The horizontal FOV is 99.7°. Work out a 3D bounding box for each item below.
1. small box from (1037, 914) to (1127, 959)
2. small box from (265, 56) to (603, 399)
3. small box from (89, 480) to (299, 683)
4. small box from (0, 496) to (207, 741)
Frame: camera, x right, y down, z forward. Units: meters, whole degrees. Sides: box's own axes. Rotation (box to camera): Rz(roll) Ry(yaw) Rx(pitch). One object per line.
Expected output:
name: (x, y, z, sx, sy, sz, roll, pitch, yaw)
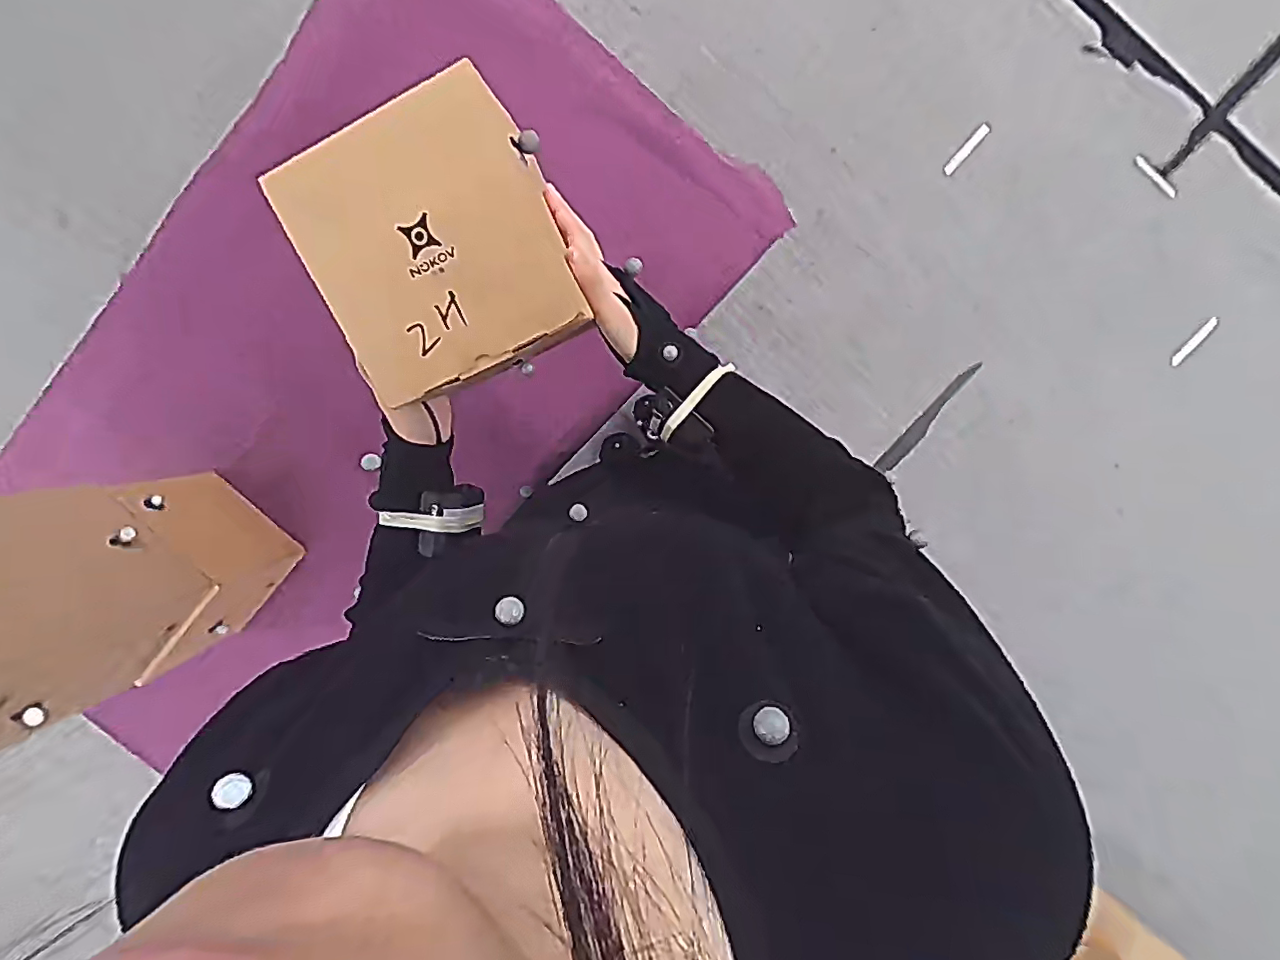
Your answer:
small box: (1.316, 1.416, 1.566, 0.179, 0.176, 0.168, 42, 97, -5)
small box: (-0.143, -0.183, 0.447, 0.168, 0.176, 0.179, -22, 103, 8)
small box: (-0.598, 0.115, 0.700, 0.179, 0.176, 0.168, 42, 95, -4)
small box: (-0.604, 0.130, 0.537, 0.179, 0.176, 0.168, 41, 95, -3)
